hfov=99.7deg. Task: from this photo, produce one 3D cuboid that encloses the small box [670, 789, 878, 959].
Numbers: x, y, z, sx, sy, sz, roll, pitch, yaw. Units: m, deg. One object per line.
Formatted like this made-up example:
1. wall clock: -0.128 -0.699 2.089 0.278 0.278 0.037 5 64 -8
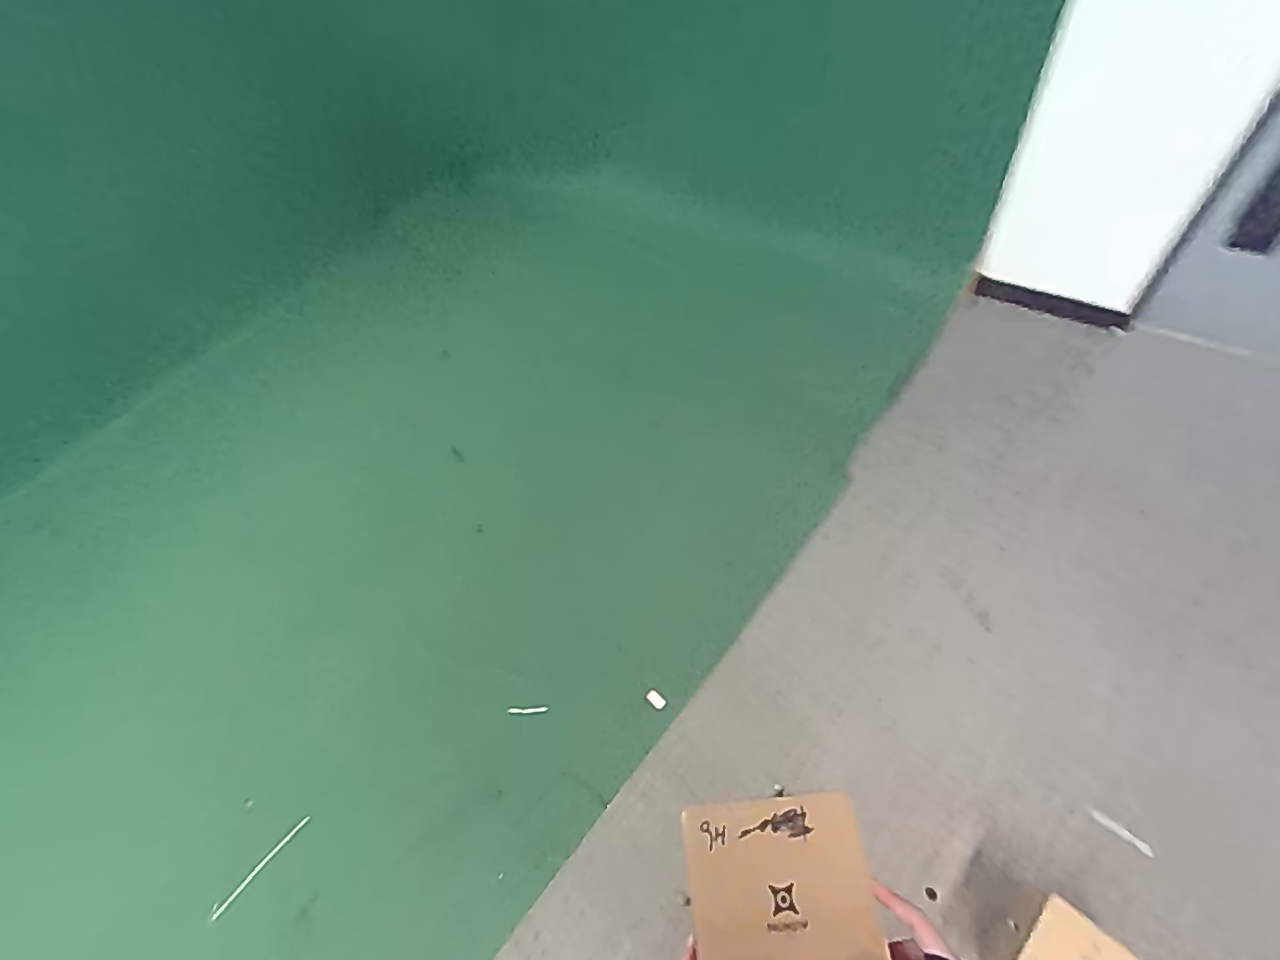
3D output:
1. small box: 0.121 0.412 0.536 0.168 0.176 0.179 -5 59 2
